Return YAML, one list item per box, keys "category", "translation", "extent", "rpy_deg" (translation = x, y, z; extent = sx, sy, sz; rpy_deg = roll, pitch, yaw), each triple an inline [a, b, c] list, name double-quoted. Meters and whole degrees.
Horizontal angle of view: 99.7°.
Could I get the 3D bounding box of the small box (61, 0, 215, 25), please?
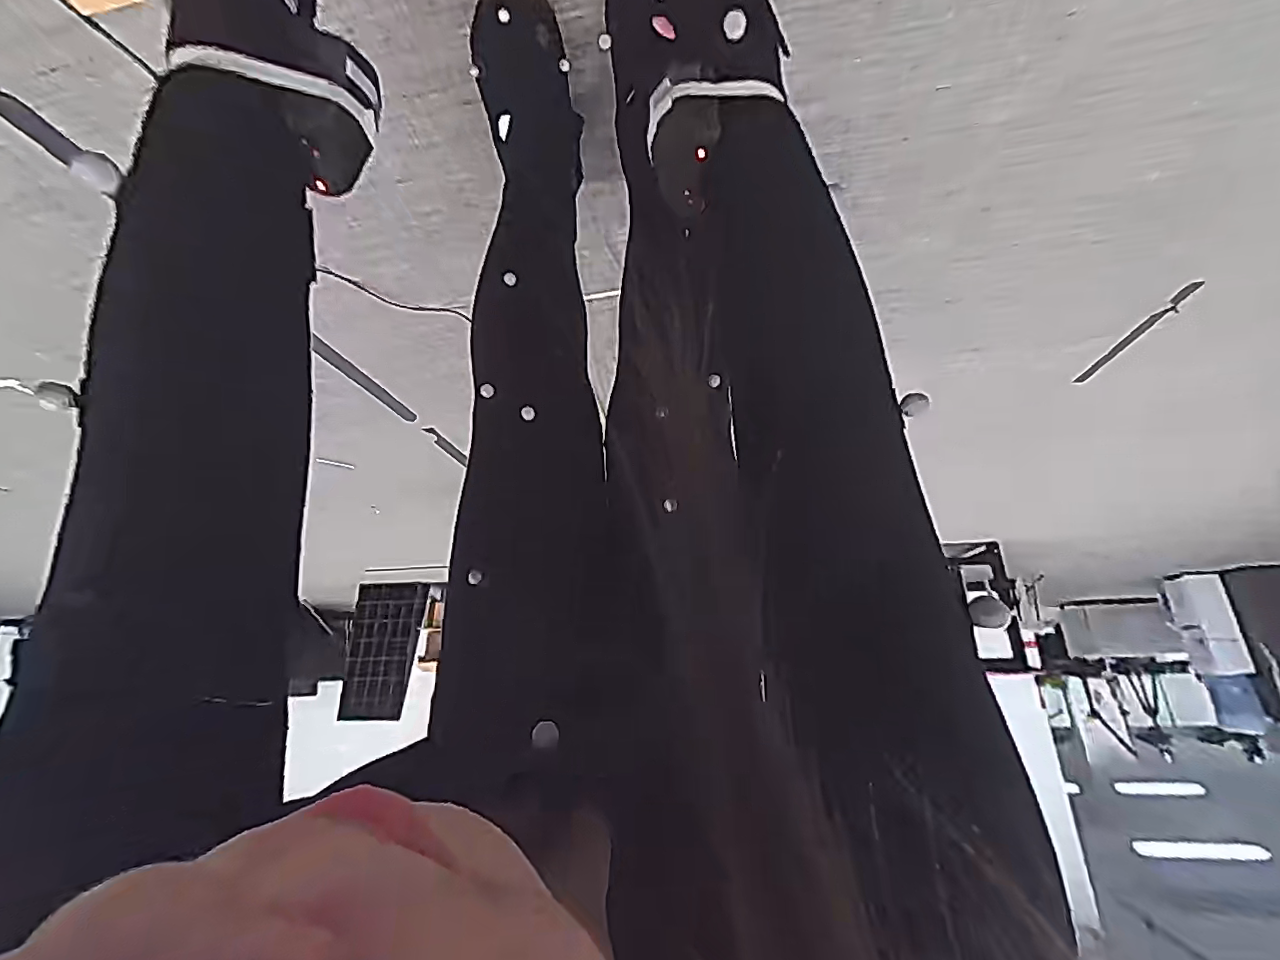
- category: "small box"
  translation: [-0.420, -0.510, 0.413]
  extent: [0.168, 0.176, 0.179]
  rpy_deg: [-4, 161, 8]
